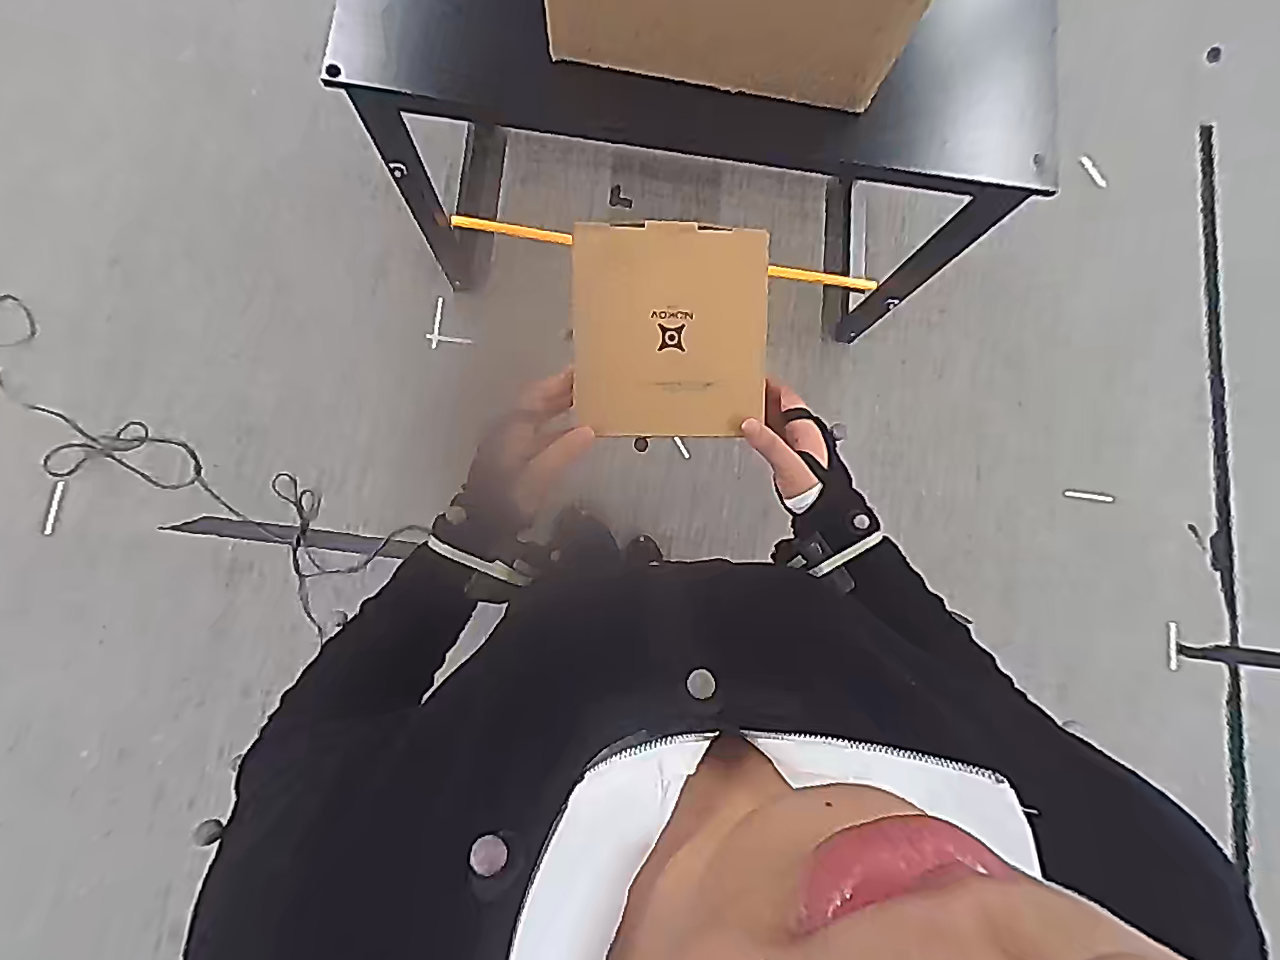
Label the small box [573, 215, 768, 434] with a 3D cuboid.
[{"bbox_3d":[0.018,-0.135,0.532,0.168,0.176,0.179,0,96,-5],"label":"small box"}]
